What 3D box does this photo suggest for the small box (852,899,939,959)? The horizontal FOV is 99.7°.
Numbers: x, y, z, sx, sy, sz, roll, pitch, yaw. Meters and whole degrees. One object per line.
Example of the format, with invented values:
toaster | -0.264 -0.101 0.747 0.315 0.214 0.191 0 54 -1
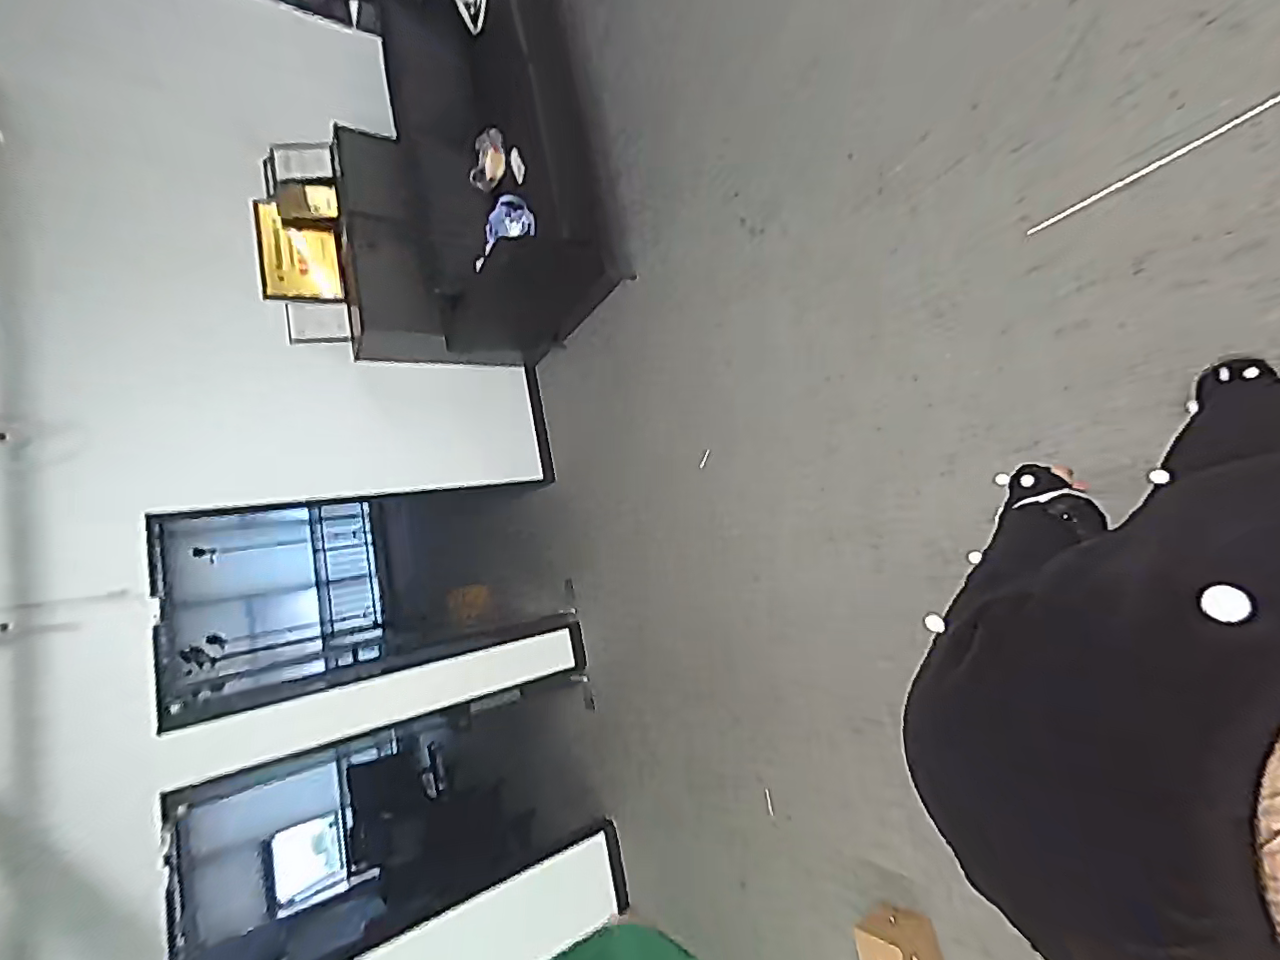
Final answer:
small box | 0.785 1.432 1.649 0.168 0.176 0.179 -26 72 55
